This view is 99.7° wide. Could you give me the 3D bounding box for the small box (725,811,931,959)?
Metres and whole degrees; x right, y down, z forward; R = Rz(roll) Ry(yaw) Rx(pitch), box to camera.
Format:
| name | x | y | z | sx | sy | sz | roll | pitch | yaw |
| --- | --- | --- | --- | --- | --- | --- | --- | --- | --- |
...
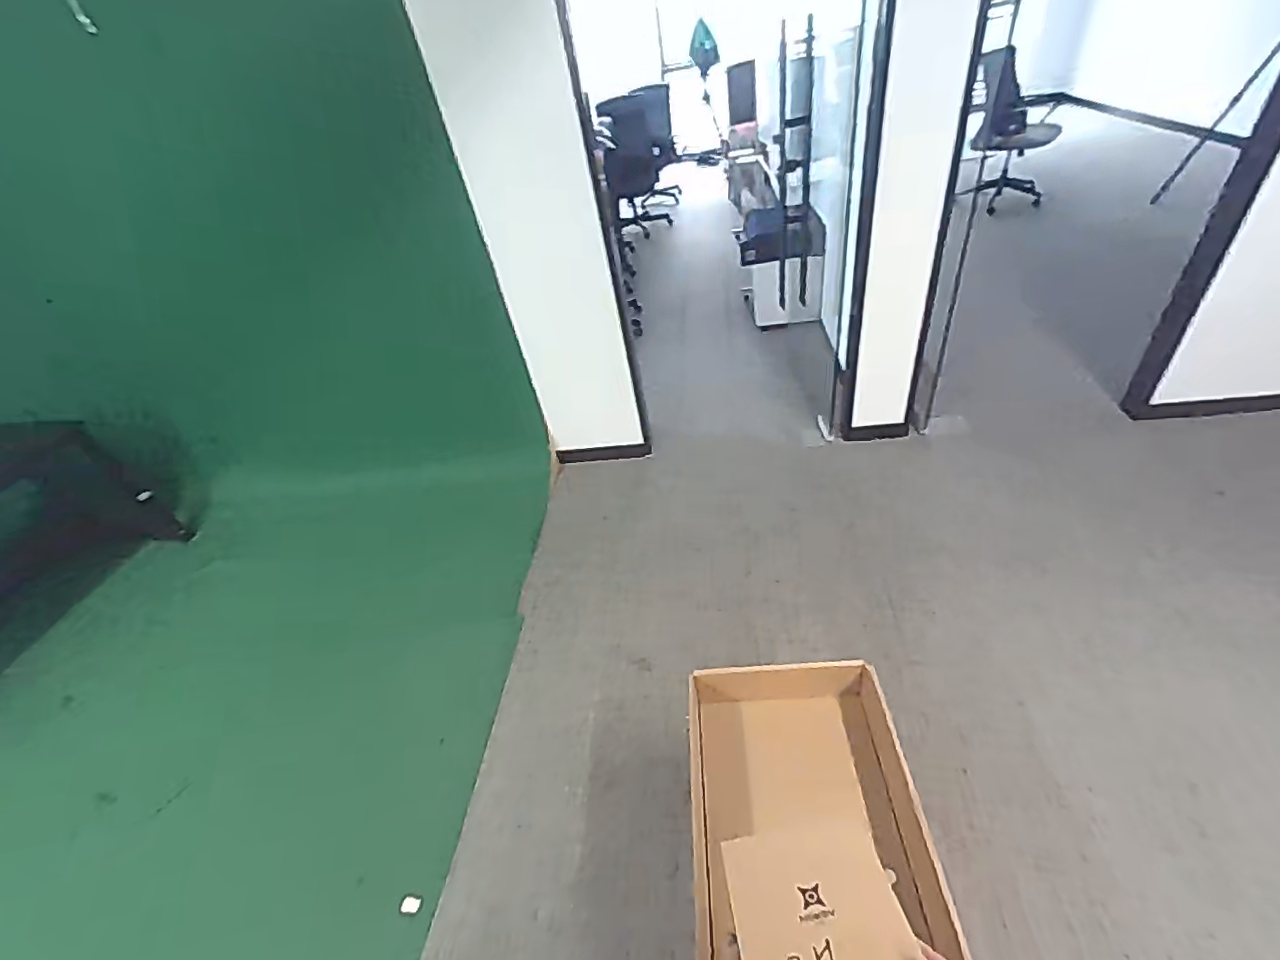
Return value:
| name | x | y | z | sx | sy | sz | roll | pitch | yaw |
| --- | --- | --- | --- | --- | --- | --- | --- | --- | --- |
| small box | 0.196 | 0.498 | 0.568 | 0.168 | 0.176 | 0.179 | -13 | 18 | 2 |
